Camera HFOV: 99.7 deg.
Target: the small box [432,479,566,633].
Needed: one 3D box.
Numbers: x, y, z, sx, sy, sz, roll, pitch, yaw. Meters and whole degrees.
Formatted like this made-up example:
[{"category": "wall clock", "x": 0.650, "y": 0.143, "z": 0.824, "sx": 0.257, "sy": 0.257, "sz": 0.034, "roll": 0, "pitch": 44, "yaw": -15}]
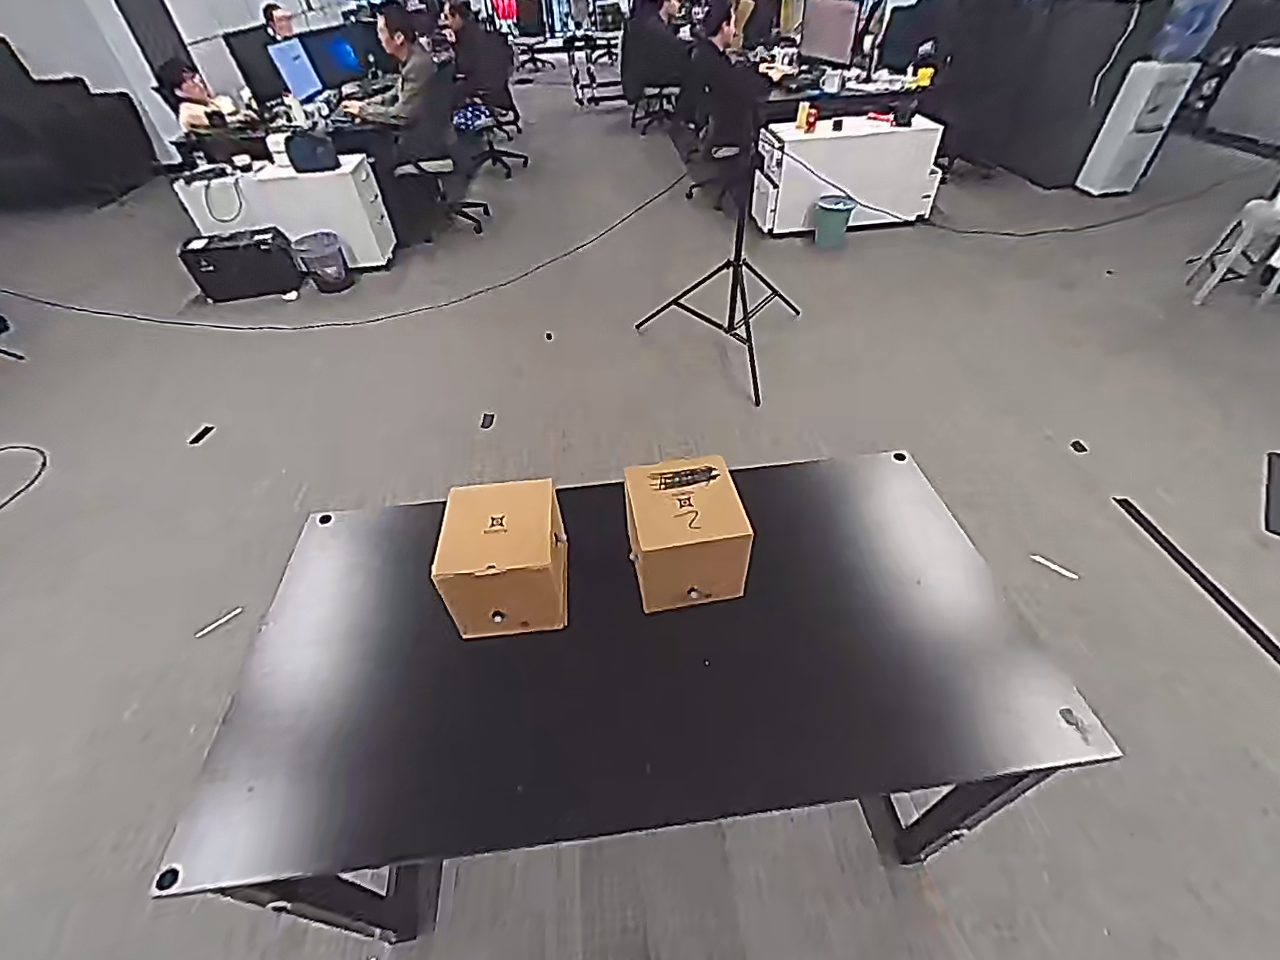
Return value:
[{"category": "small box", "x": -0.213, "y": 0.122, "z": 0.868, "sx": 0.168, "sy": 0.176, "sz": 0.179, "roll": -6, "pitch": 45, "yaw": -2}]
